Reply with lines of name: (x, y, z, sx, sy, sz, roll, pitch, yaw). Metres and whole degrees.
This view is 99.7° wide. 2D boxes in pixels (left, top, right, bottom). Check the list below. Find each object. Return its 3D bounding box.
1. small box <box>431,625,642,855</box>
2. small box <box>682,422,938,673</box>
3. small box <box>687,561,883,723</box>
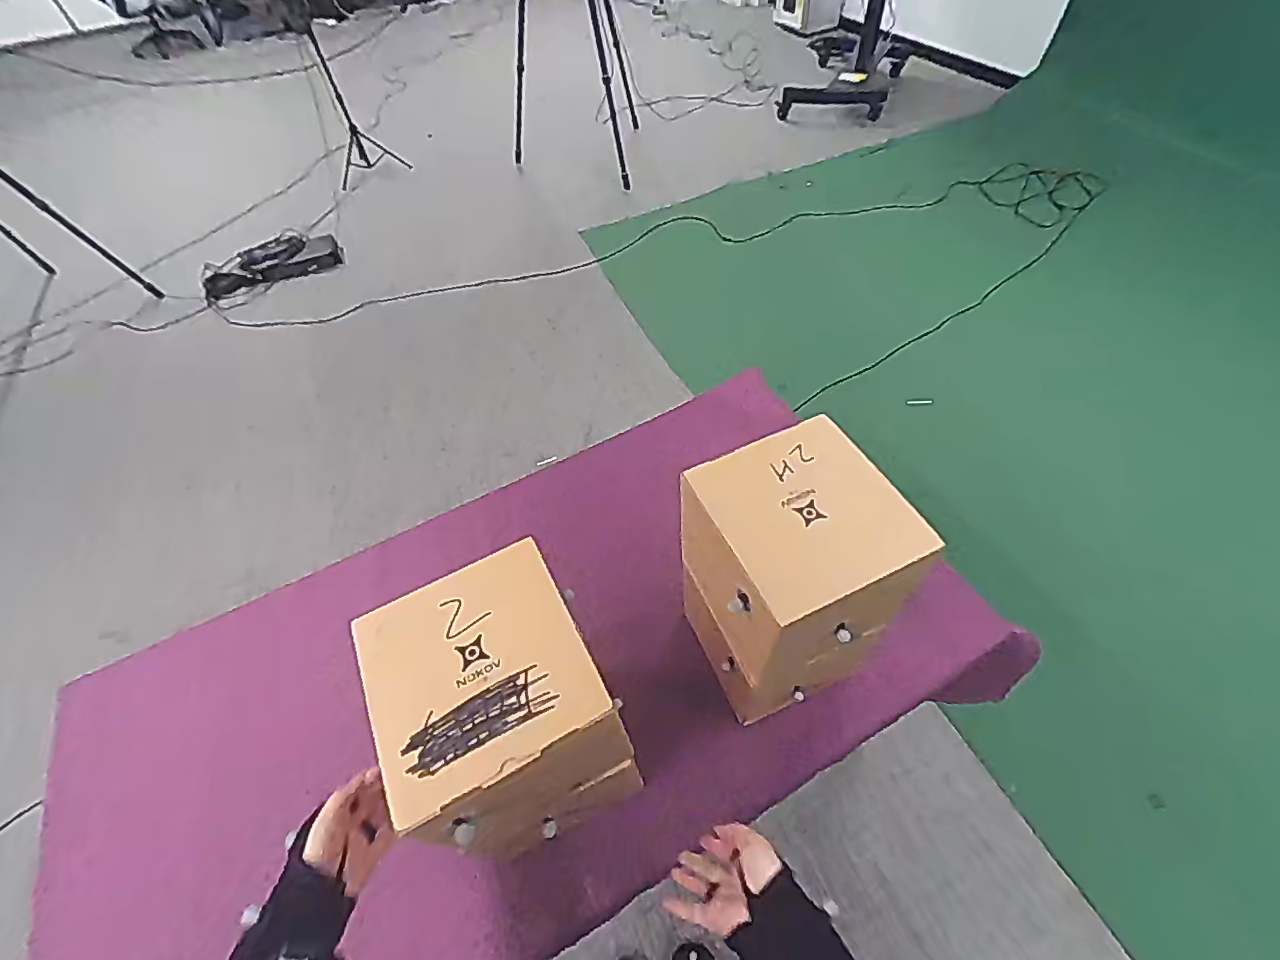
small box: (-0.110, 0.302, 0.620, 0.179, 0.176, 0.168, -22, 54, -11)
small box: (0.155, 0.078, 0.559, 0.168, 0.176, 0.179, -22, 54, -12)
small box: (0.166, 0.178, 0.690, 0.168, 0.176, 0.179, -21, 54, -10)
